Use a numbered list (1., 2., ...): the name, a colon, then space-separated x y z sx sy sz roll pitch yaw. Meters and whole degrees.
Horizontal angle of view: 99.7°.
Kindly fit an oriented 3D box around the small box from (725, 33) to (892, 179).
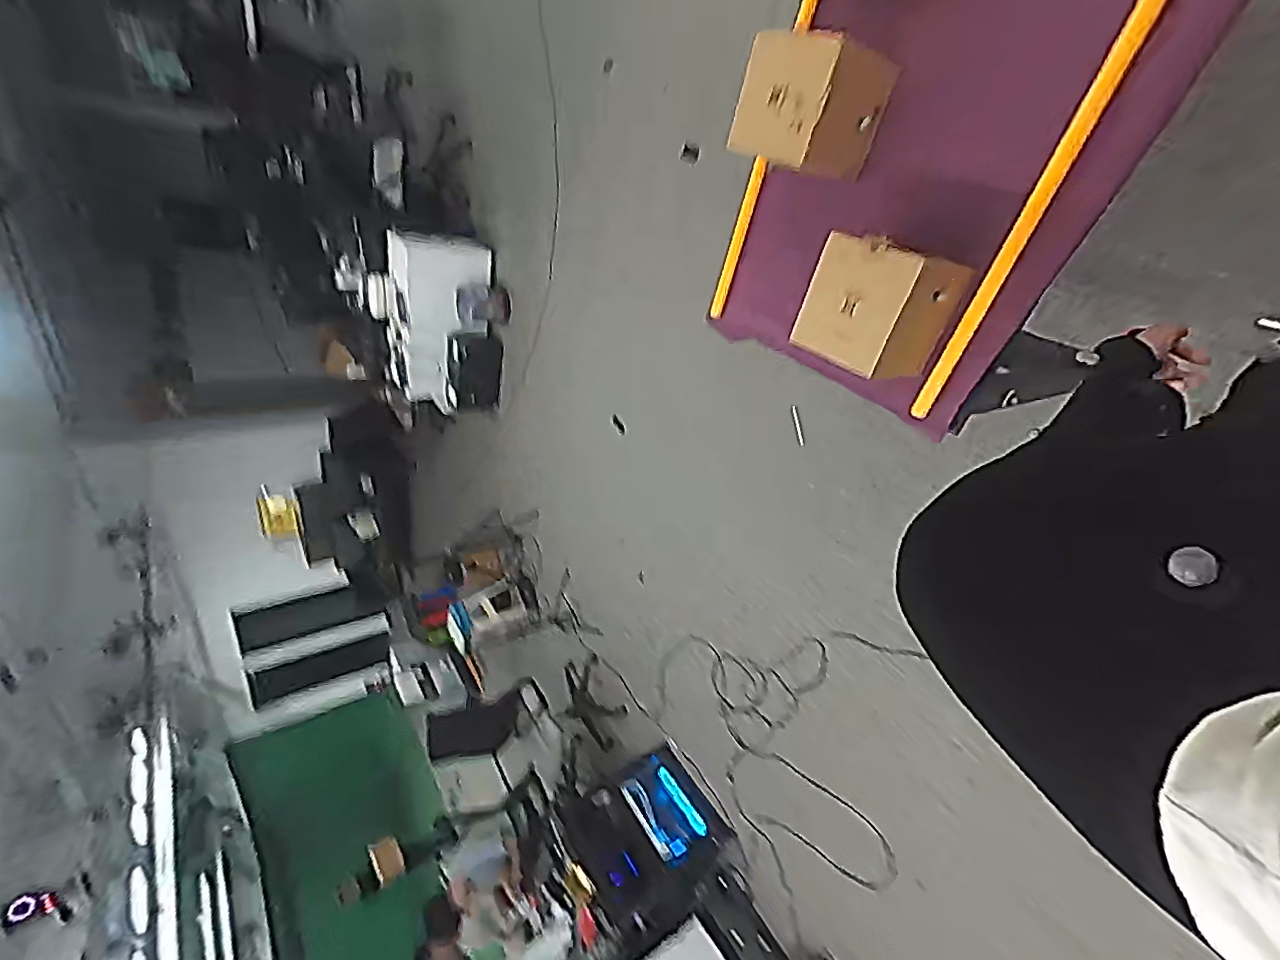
1. small box: 0.280 -0.624 0.913 0.179 0.176 0.168 42 131 37

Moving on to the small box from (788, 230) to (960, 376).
1. small box: 0.380 -0.282 0.874 0.168 0.176 0.179 43 129 39
